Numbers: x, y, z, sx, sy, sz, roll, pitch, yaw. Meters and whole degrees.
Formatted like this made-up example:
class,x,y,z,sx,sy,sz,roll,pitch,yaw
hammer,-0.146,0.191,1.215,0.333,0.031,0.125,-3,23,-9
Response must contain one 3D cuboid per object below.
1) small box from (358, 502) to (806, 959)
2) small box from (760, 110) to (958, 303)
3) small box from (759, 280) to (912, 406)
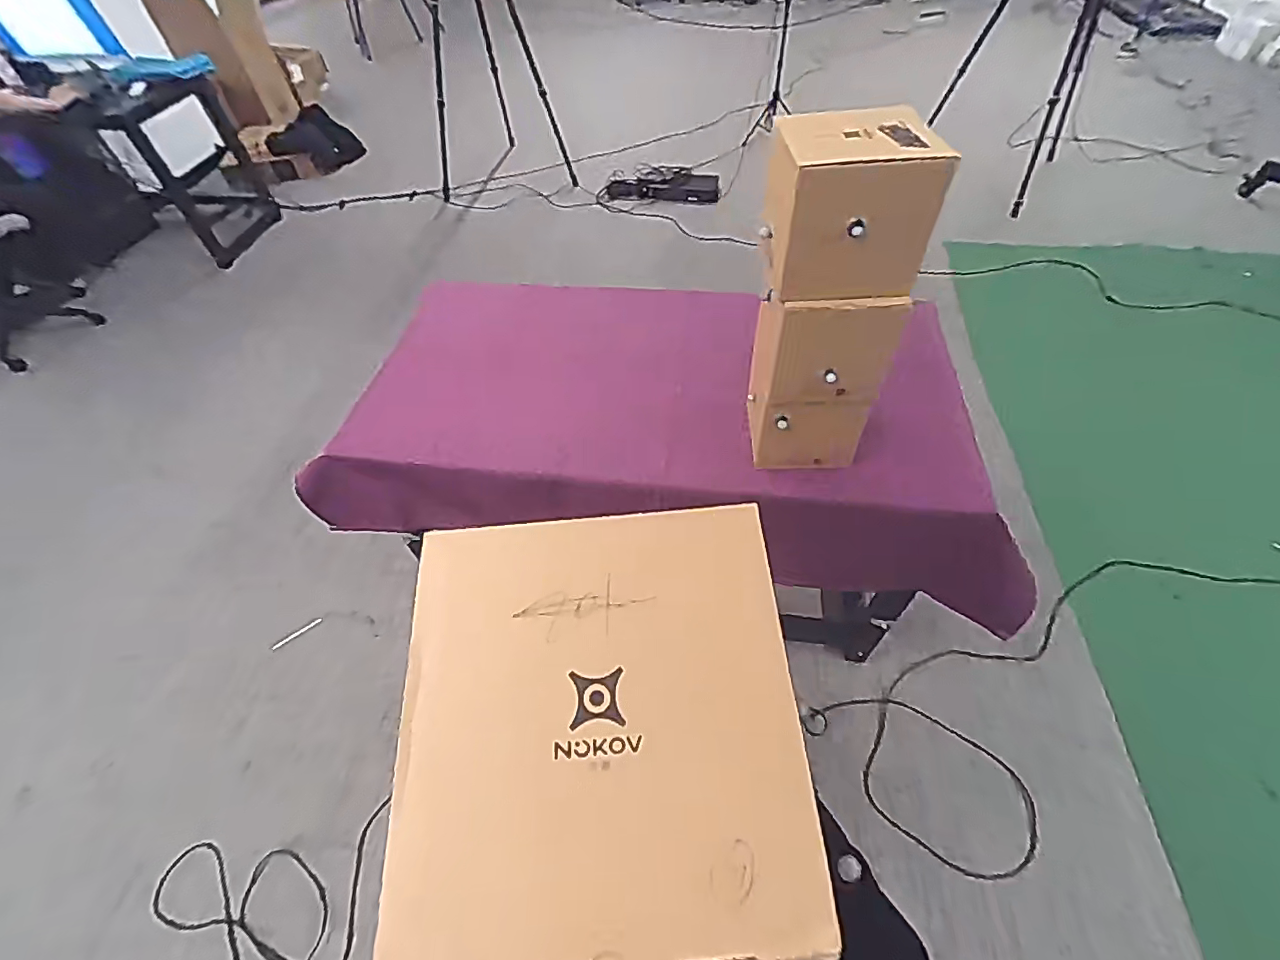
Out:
class,x,y,z,sx,sy,sz,roll,pitch,yaw
small box,-0.022,0.130,0.300,0.168,0.176,0.179,-4,61,0
small box,0.260,-0.345,0.691,0.179,0.176,0.168,-2,50,3
small box,0.276,-0.231,0.810,0.168,0.176,0.179,0,51,4
